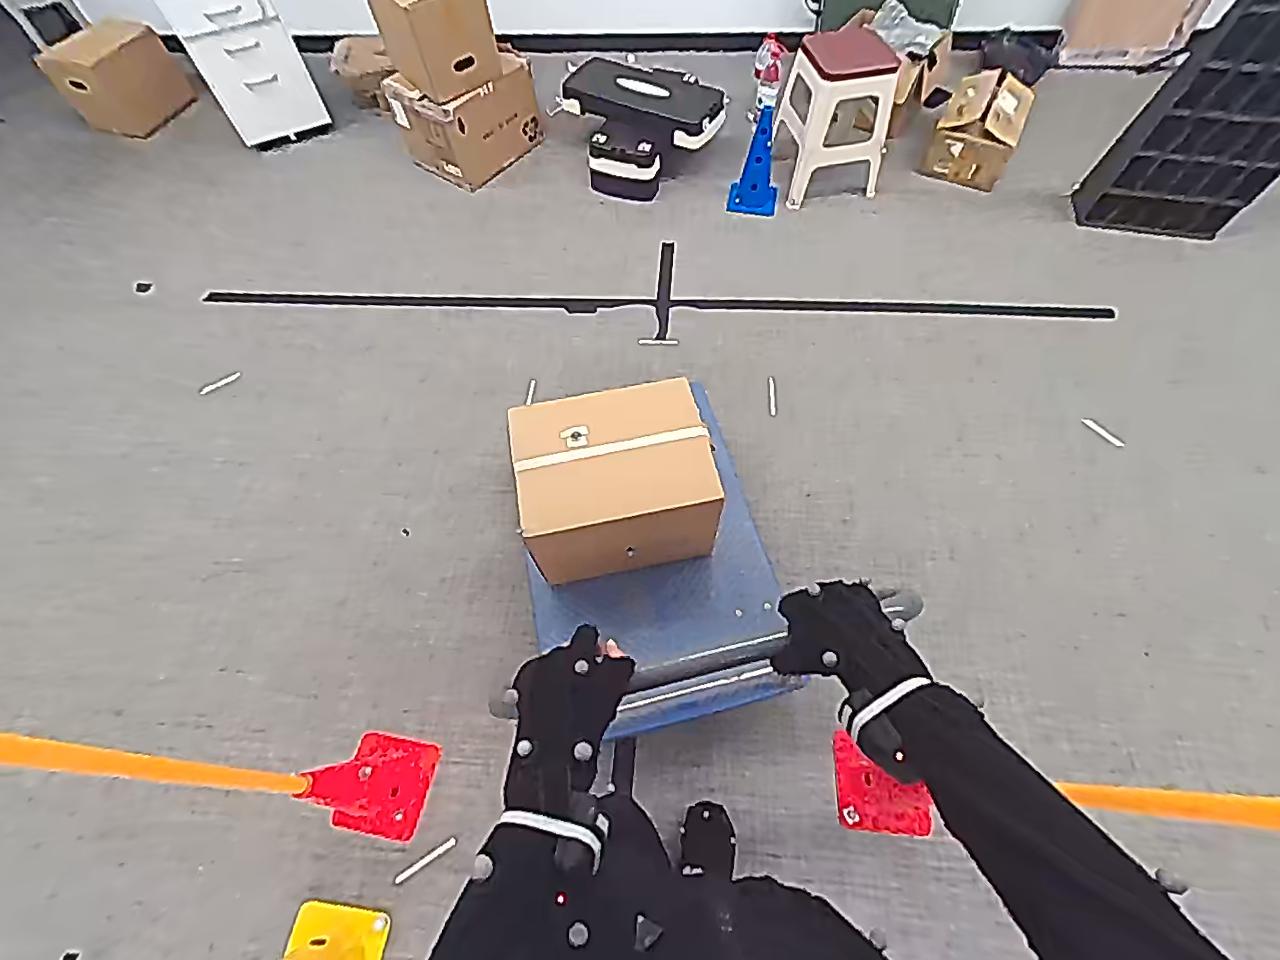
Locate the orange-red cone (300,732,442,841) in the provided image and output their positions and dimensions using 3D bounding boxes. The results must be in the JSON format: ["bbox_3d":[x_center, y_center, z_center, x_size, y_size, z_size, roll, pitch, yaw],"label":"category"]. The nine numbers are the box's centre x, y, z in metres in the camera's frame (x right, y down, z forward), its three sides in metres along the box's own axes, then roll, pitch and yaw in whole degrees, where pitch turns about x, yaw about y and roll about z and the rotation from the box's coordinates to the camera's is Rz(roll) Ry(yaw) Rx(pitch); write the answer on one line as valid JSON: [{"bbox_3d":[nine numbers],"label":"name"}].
[{"bbox_3d":[-0.584,0.622,1.110,0.198,0.360,0.199,10,60,6],"label":"orange-red cone"}]

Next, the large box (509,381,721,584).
[{"bbox_3d":[-0.056,0.018,1.261,0.408,0.320,0.320,-12,62,-3],"label":"large box"}]

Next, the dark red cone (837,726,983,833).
[{"bbox_3d":[0.548,0.584,1.065,0.201,0.394,0.202,3,61,2],"label":"dark red cone"}]
